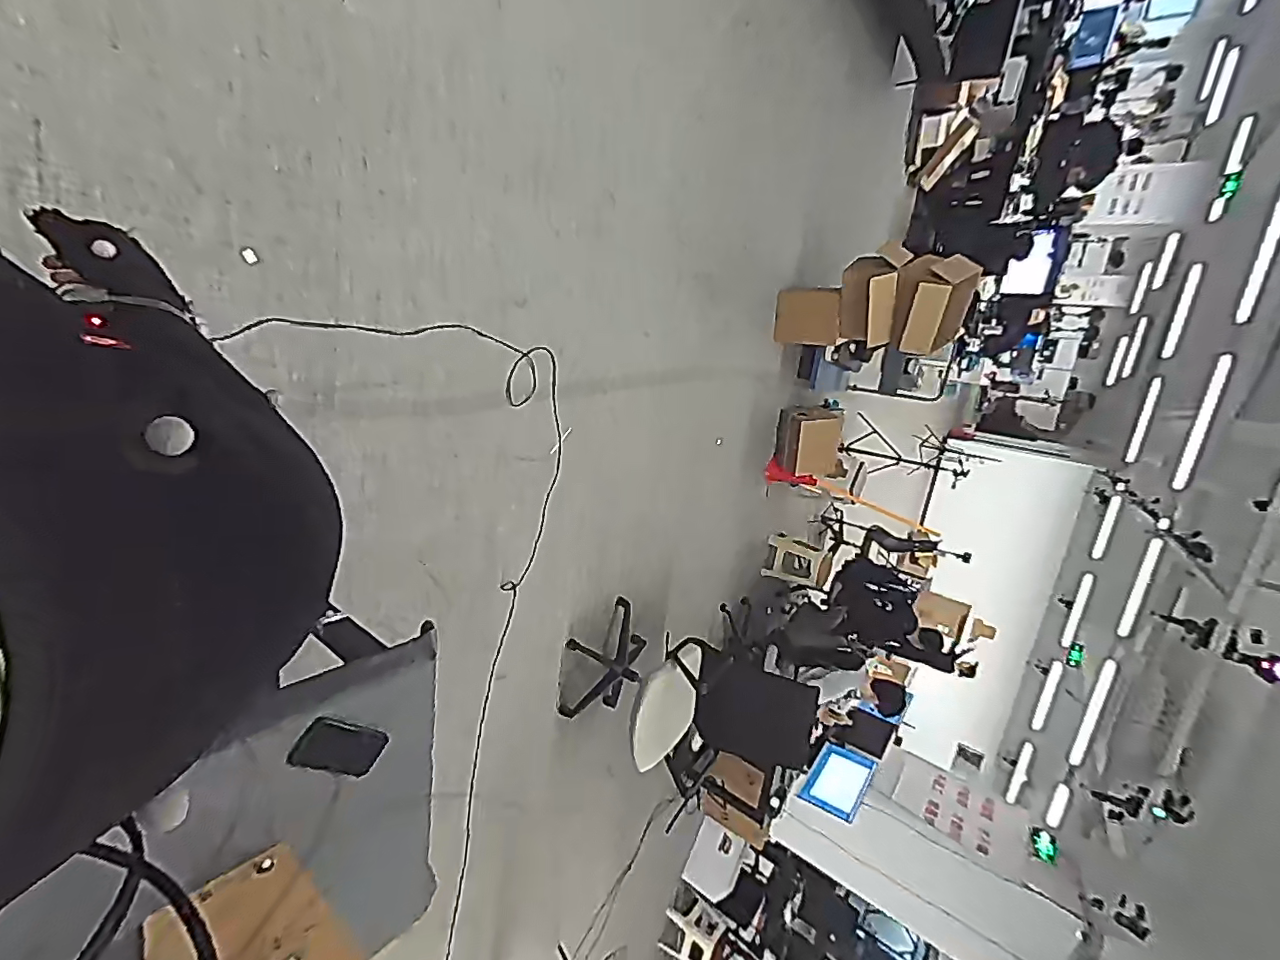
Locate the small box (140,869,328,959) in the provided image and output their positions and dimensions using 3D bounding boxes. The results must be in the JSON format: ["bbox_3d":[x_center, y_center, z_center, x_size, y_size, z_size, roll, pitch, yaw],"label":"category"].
[{"bbox_3d":[-0.555,0.685,0.741,0.168,0.176,0.179,-8,111,-53],"label":"small box"}]
